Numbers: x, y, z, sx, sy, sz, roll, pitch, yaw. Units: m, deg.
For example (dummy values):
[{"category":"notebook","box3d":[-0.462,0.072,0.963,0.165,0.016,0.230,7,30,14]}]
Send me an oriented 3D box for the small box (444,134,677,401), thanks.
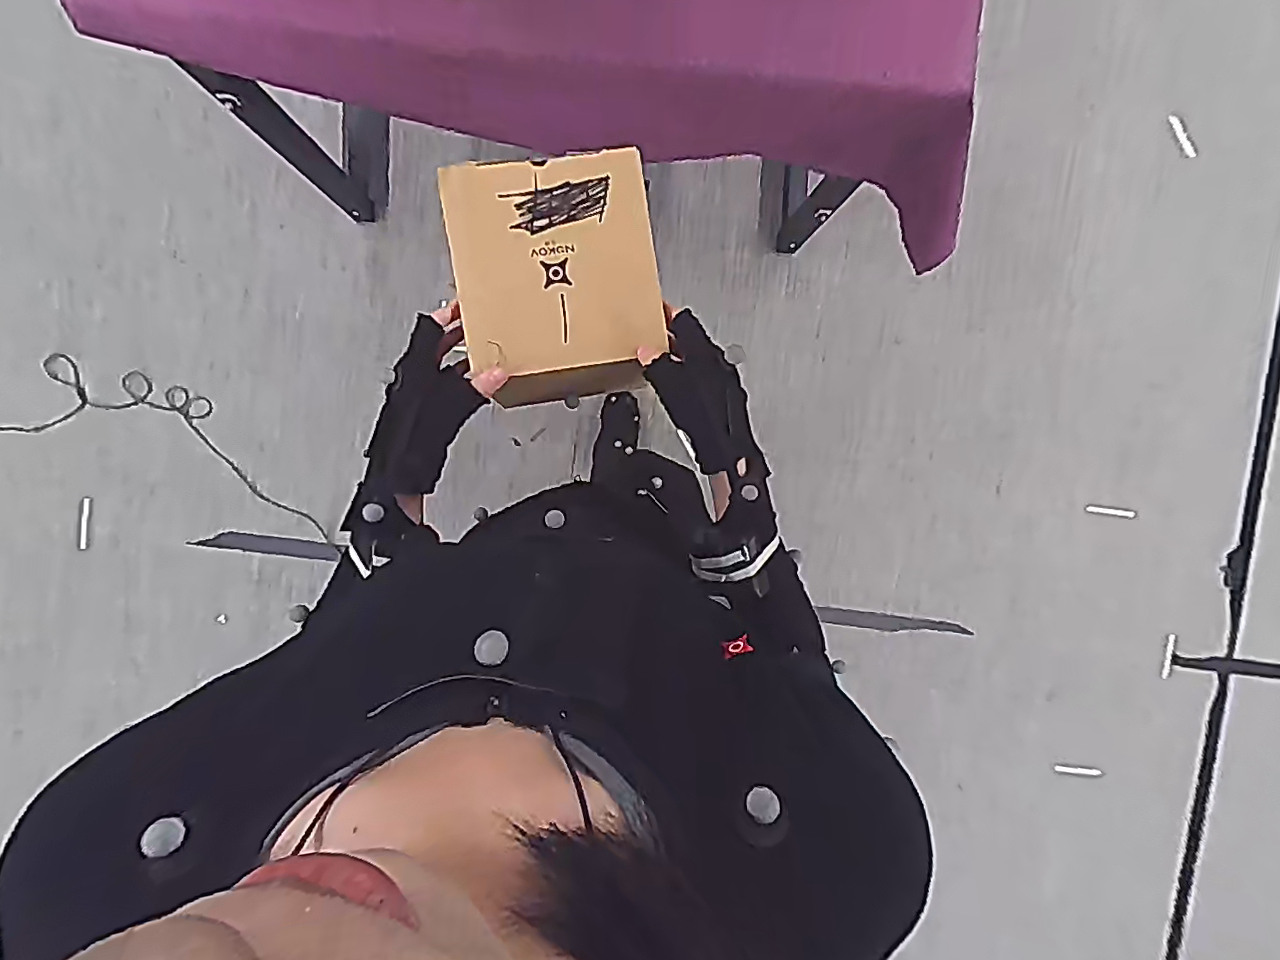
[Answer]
[{"category":"small box","box3d":[-0.071,-0.183,0.509,0.168,0.176,0.179,-9,91,-5]}]
